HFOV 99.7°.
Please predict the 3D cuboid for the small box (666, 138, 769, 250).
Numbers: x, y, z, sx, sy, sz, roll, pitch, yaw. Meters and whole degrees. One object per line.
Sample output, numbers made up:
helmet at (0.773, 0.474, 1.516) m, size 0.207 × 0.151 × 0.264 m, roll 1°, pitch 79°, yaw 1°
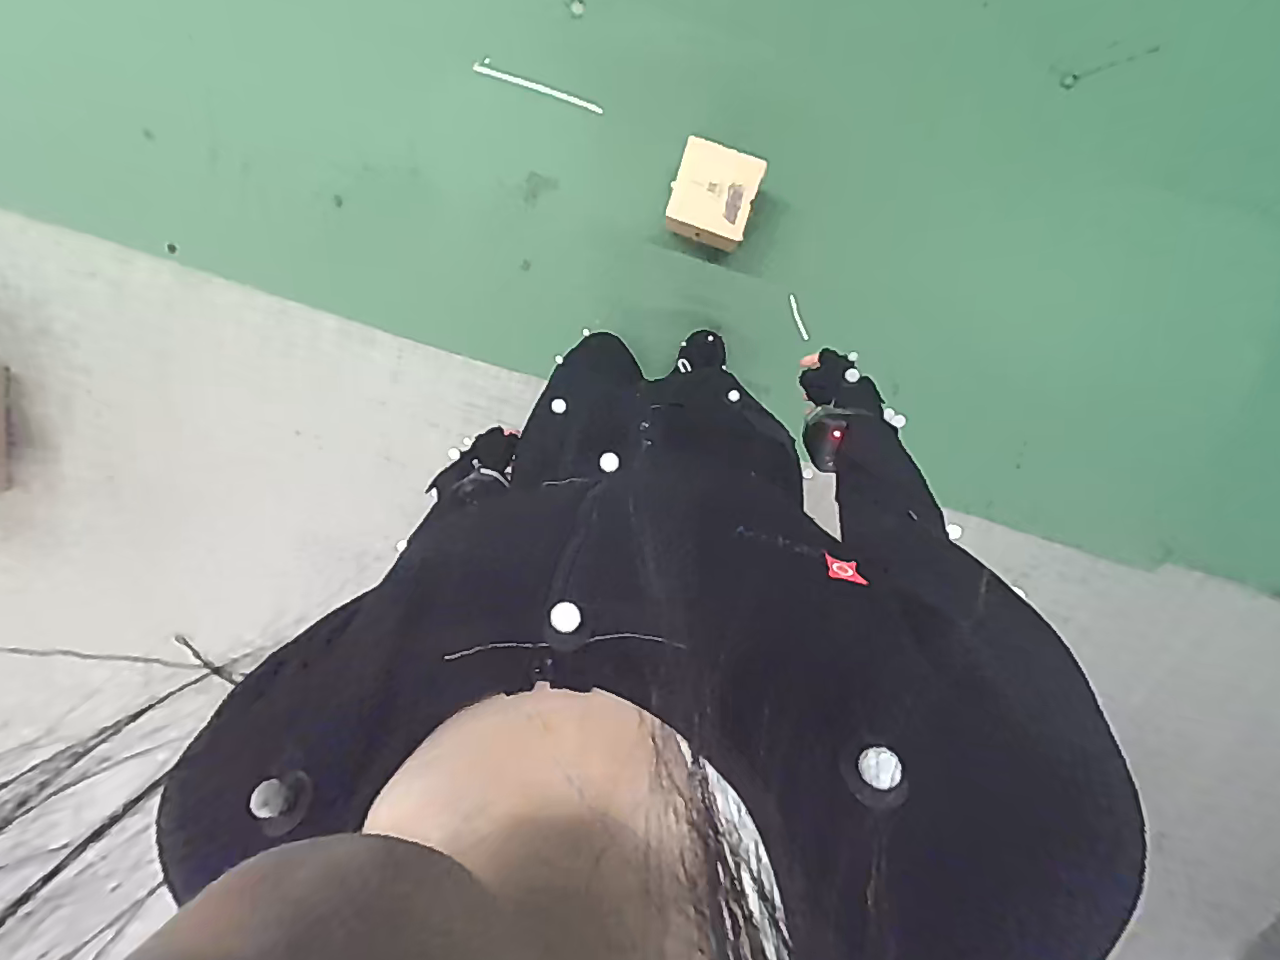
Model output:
small box at (0.168, -0.633, 1.222) m, size 0.179 × 0.176 × 0.168 m, roll 19°, pitch 106°, yaw -1°
